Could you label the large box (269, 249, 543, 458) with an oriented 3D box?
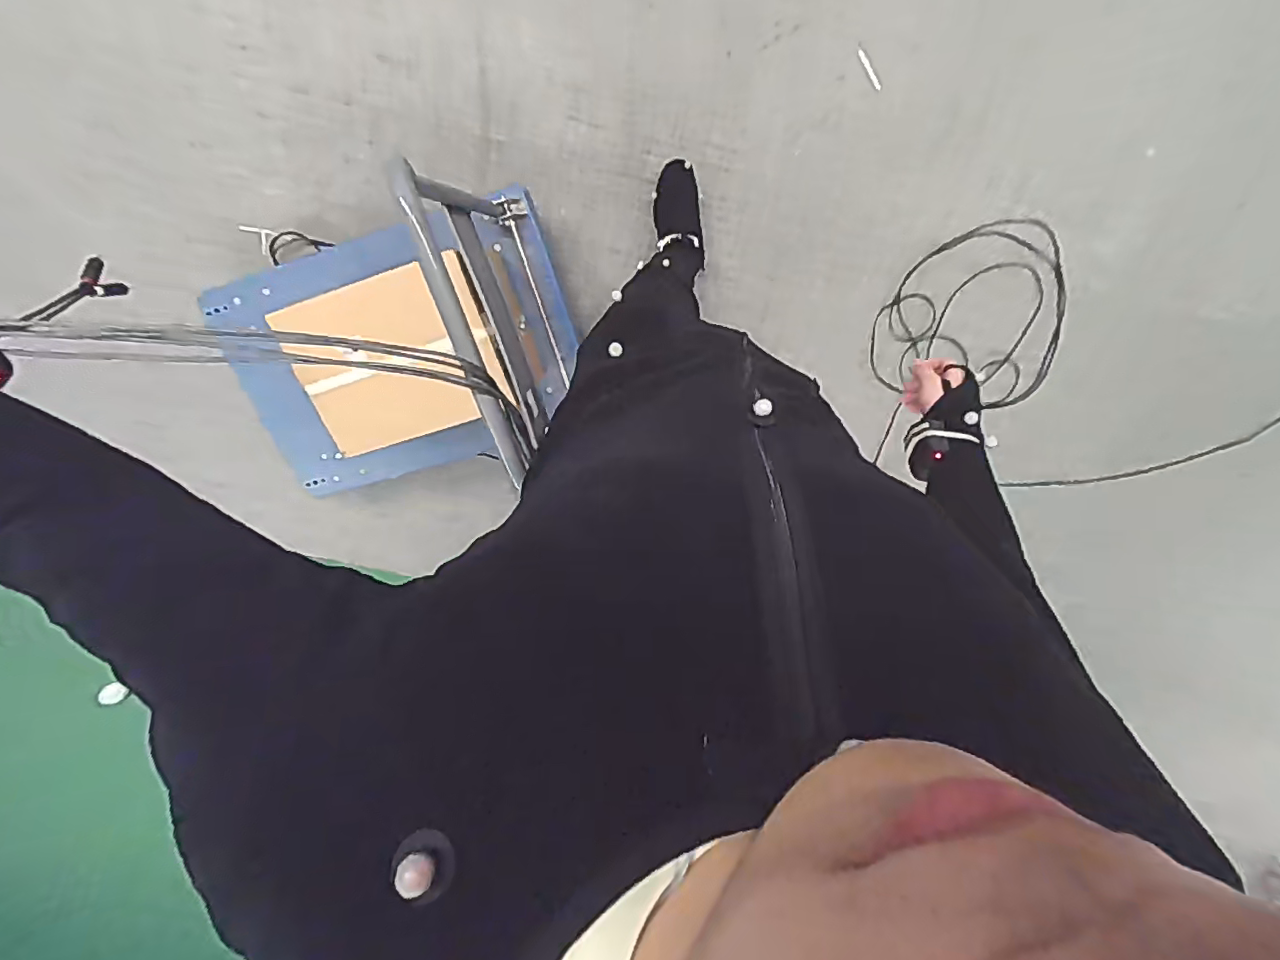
[{"bbox_3d":[-0.478,-0.292,1.202,0.408,0.320,0.320,-15,111,8],"label":"large box"}]
